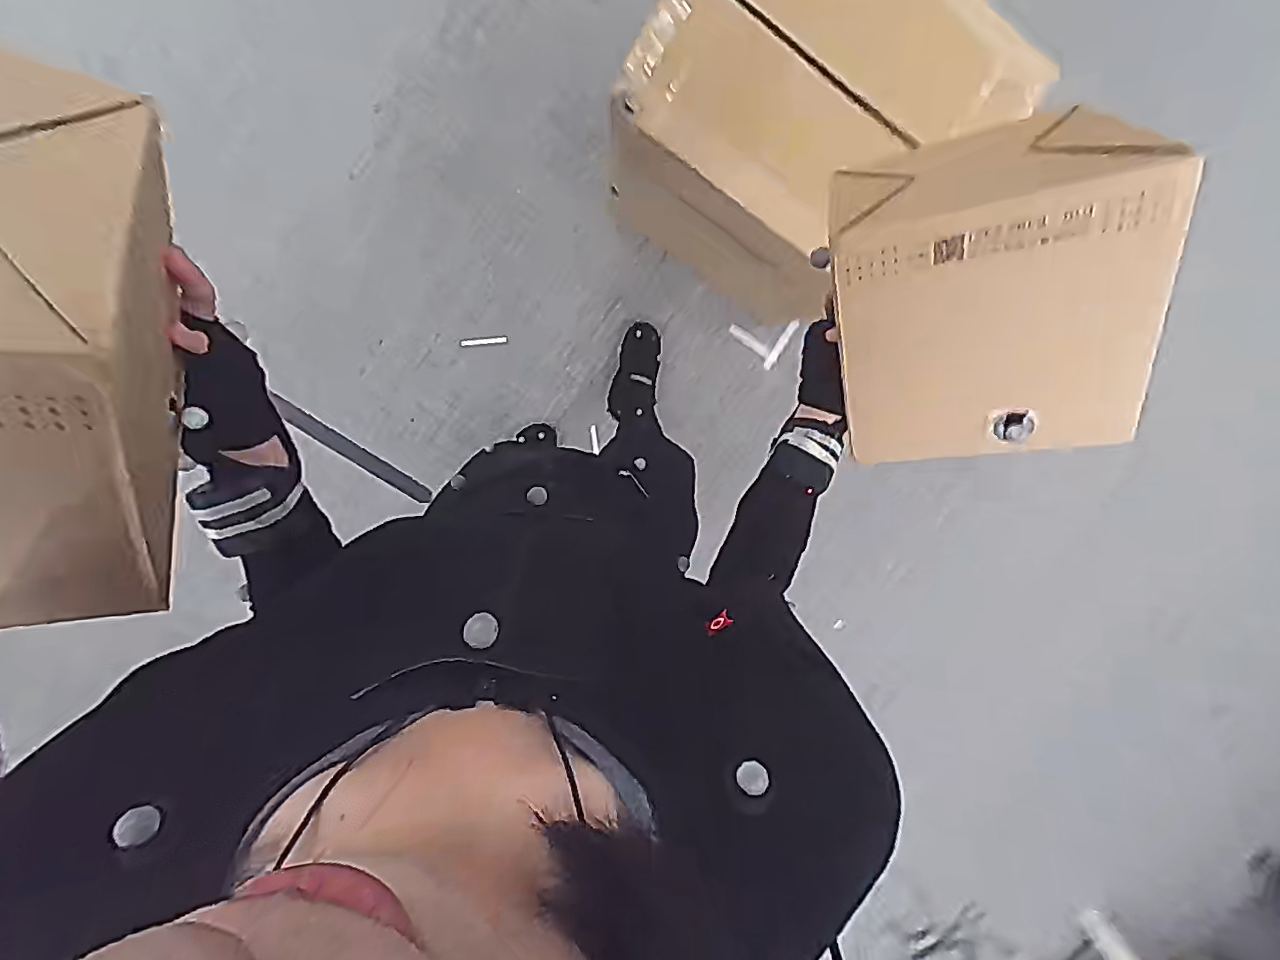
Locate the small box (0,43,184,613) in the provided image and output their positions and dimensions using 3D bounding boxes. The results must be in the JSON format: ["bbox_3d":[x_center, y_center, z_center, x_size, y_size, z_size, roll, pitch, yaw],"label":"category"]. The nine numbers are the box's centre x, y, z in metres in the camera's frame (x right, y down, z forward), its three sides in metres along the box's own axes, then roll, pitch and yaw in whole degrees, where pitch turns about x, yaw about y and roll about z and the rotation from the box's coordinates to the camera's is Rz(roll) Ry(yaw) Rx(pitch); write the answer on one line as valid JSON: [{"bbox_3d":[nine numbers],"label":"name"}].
[{"bbox_3d":[-0.290,-0.060,0.206,0.168,0.179,0.176,1,142,-34],"label":"small box"}]

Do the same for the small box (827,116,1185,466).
[{"bbox_3d":[0.227,-0.132,0.379,0.168,0.179,0.176,-4,128,24],"label":"small box"}]
